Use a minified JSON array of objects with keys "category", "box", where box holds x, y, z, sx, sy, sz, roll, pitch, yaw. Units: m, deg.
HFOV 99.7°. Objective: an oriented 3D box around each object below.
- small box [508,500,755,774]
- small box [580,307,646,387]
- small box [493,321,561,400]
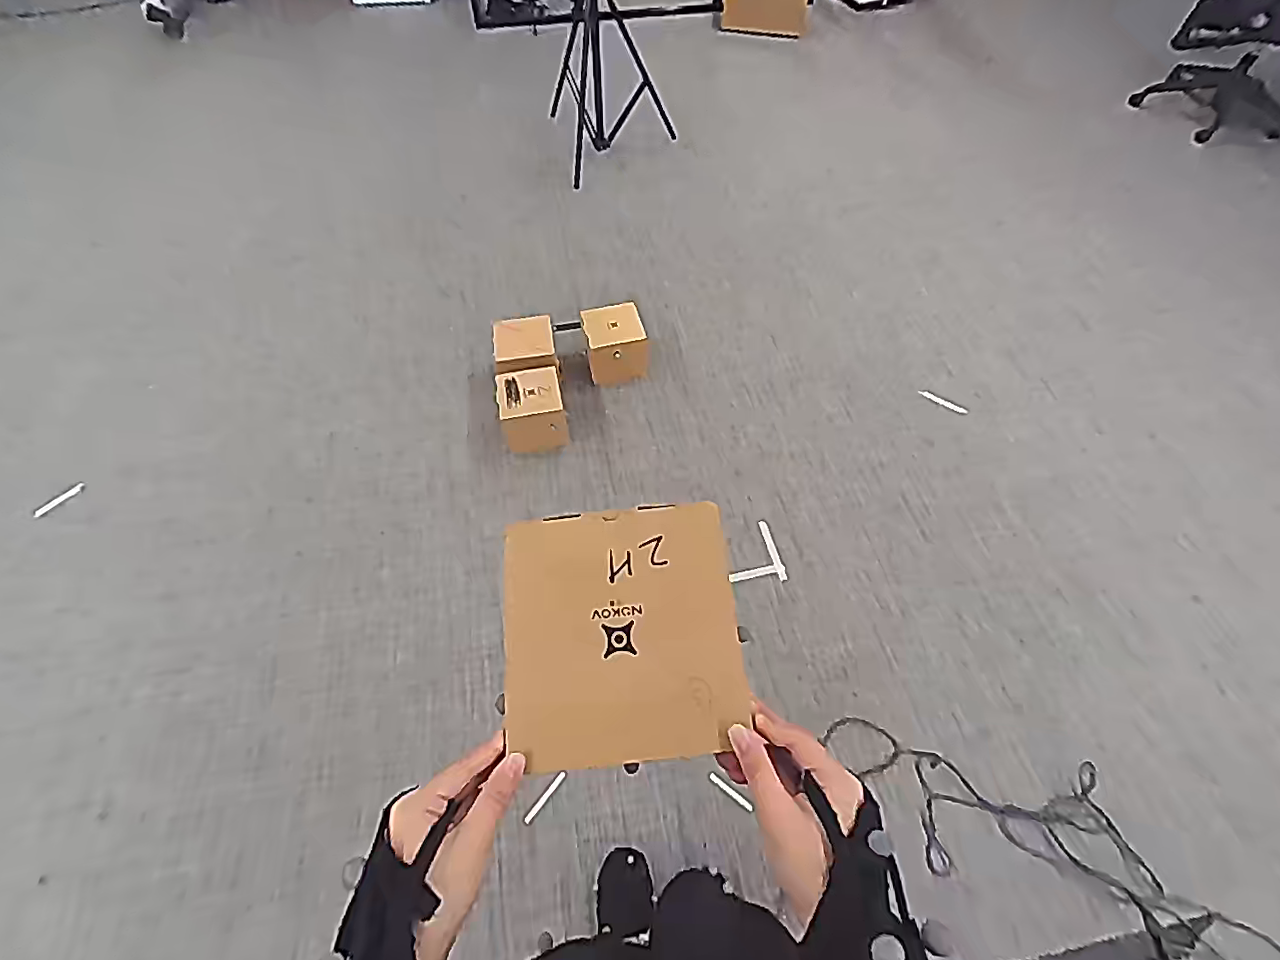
[{"category":"small box","box":[-0.008,0.133,0.457,0.168,0.176,0.179,-7,68,0]},{"category":"small box","box":[-0.085,-0.421,1.724,0.179,0.176,0.168,-13,60,-8]},{"category":"small box","box":[-0.350,-0.376,1.688,0.179,0.176,0.168,-8,59,-6]}]
